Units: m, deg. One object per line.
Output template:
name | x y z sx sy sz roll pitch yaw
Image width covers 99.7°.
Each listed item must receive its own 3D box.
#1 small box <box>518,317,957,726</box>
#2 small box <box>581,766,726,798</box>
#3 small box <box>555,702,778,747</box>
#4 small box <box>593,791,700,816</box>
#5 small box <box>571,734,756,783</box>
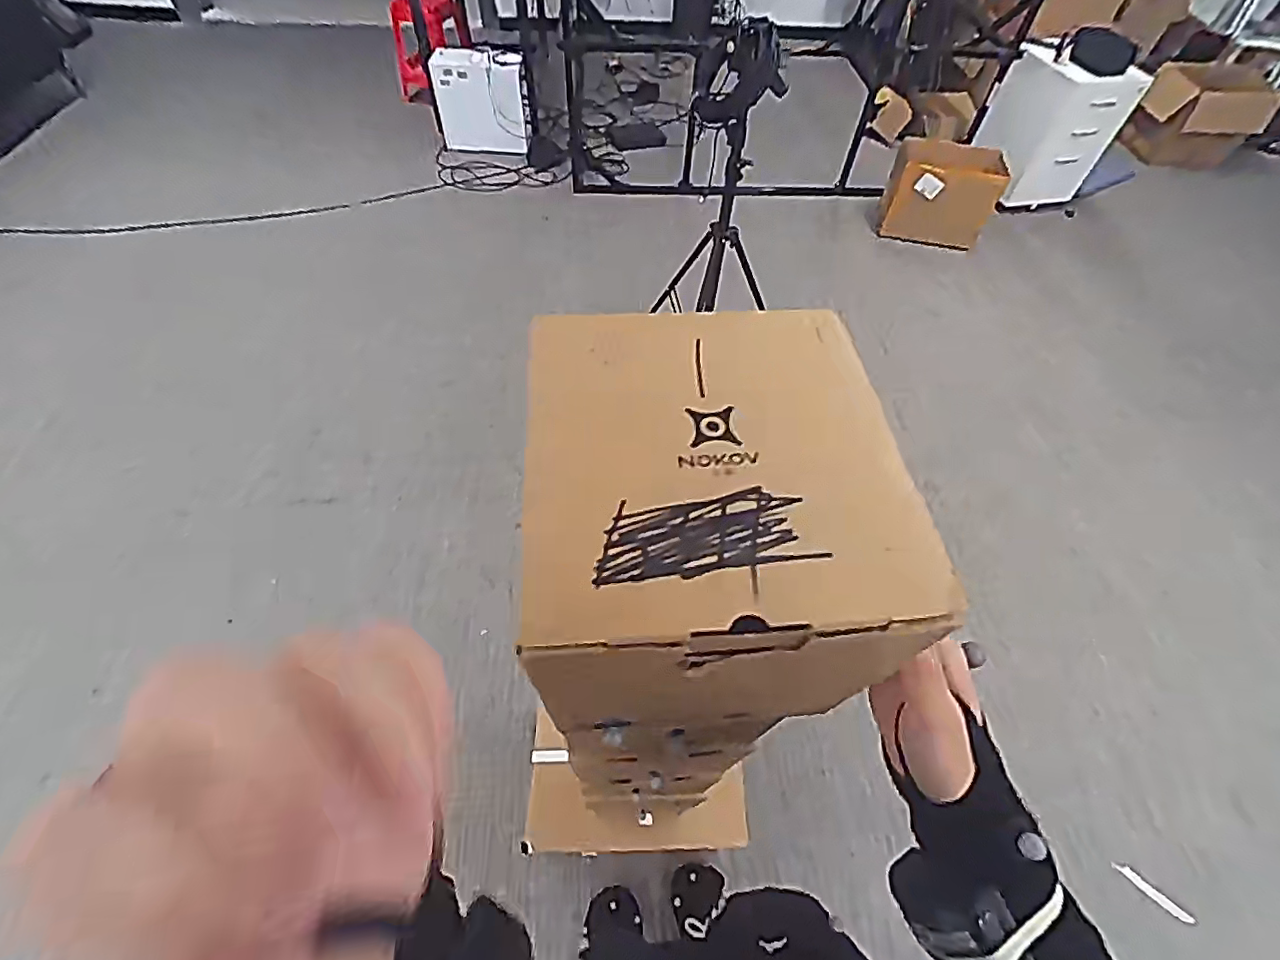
small box | 0.030 0.033 0.307 0.168 0.176 0.179 -3 56 -4
small box | 0.008 0.310 0.715 0.168 0.176 0.179 -1 56 -3
small box | 0.020 0.117 0.450 0.168 0.176 0.179 -3 57 -5
small box | 0.005 0.504 0.977 0.179 0.176 0.168 -1 56 -4
small box | 0.013 0.214 0.581 0.168 0.176 0.179 -2 57 -4
